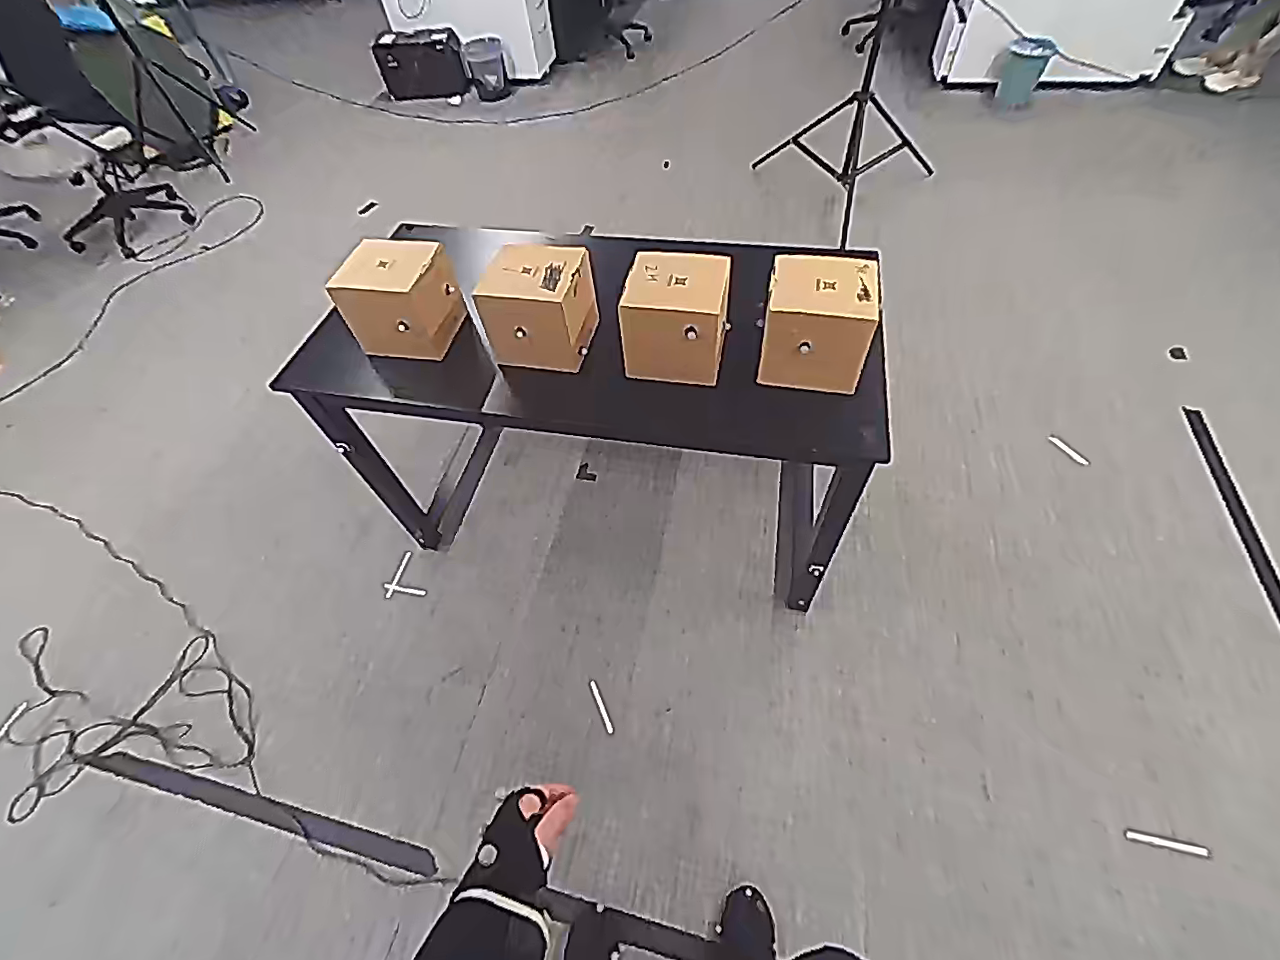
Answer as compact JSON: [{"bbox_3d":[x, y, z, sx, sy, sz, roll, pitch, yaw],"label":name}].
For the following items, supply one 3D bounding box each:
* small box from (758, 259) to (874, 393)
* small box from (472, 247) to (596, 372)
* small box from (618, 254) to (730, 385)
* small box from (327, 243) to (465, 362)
[{"bbox_3d":[0.313,-0.276,0.980,0.179,0.176,0.168,8,55,12],"label":"small box"},{"bbox_3d":[-0.195,-0.332,1.064,0.179,0.176,0.168,8,56,12],"label":"small box"},{"bbox_3d":[0.068,-0.297,1.015,0.179,0.176,0.168,7,55,10],"label":"small box"},{"bbox_3d":[-0.485,-0.362,1.113,0.179,0.176,0.168,5,55,9],"label":"small box"}]
